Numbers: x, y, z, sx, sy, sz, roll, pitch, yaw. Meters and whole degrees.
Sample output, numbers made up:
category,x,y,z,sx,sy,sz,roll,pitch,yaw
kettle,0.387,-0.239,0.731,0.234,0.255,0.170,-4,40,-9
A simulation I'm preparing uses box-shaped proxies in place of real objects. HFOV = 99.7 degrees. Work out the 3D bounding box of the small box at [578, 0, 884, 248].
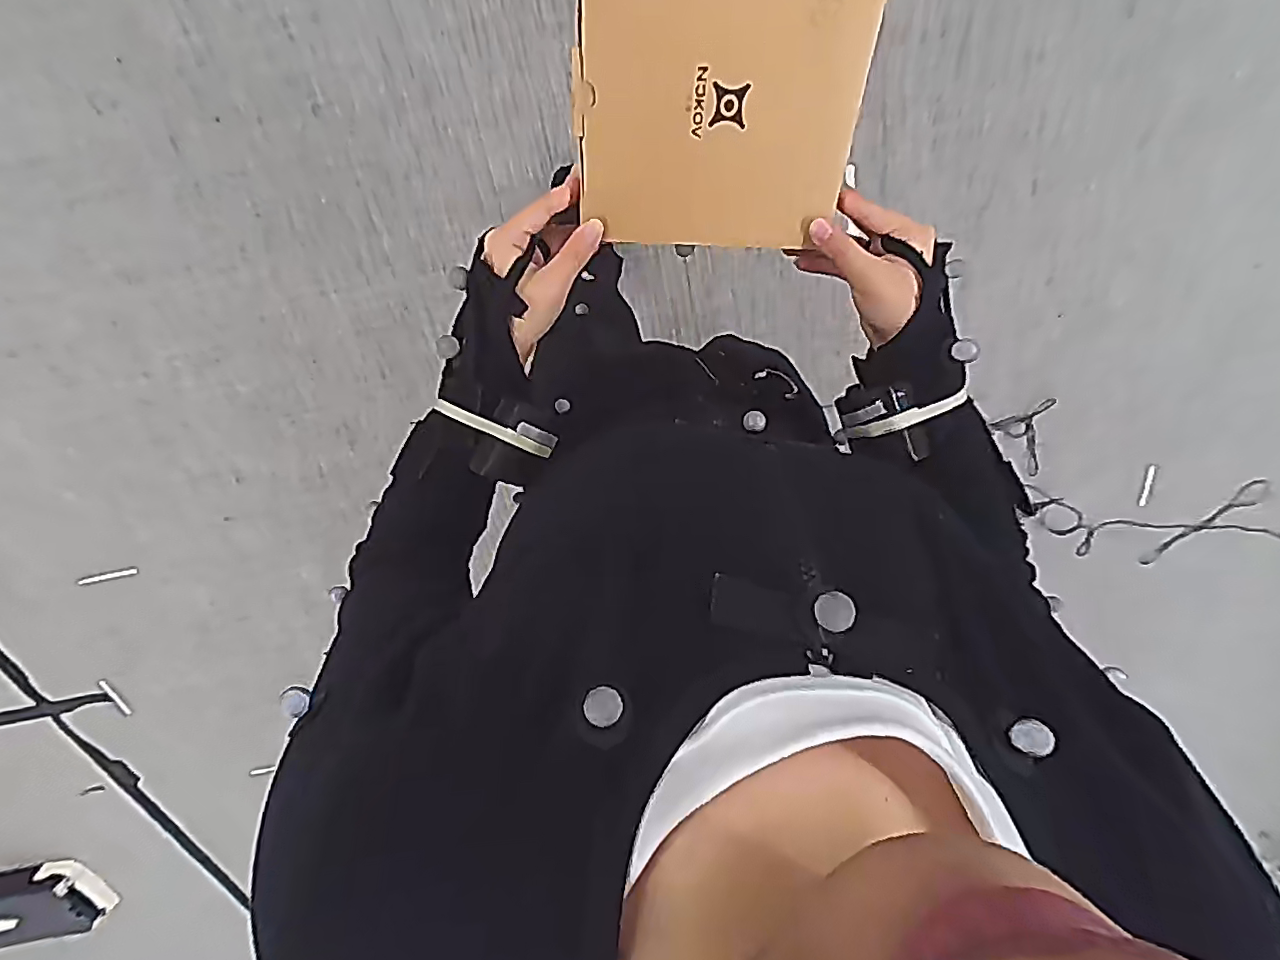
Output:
category,x,y,z,sx,sy,sz,roll,pitch,yaw
small box,0.044,-0.282,0.396,0.179,0.176,0.168,1,127,-5
